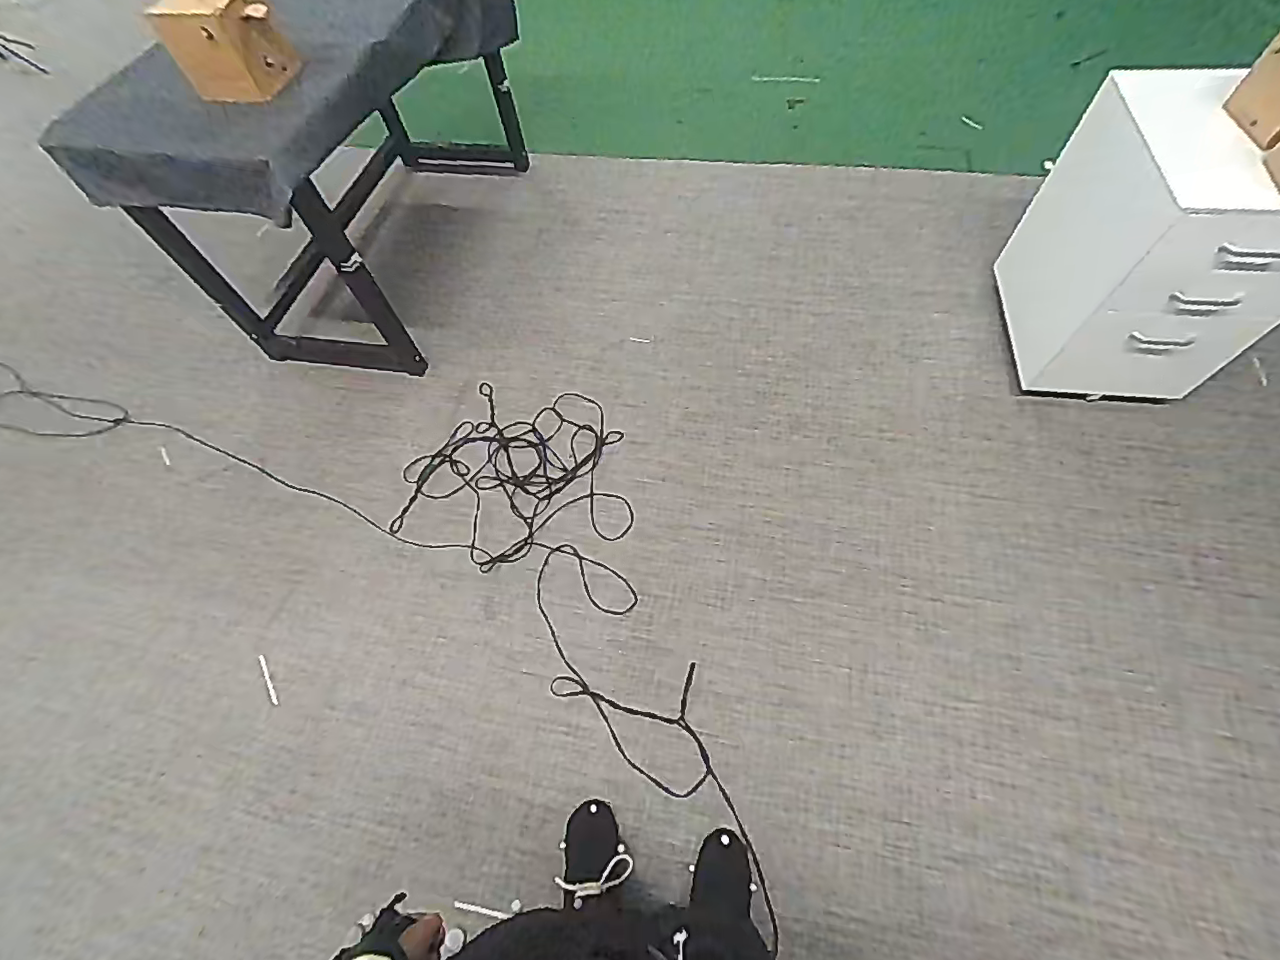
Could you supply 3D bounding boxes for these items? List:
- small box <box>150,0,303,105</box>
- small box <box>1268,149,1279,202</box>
[{"bbox_3d":[-0.918,-0.977,1.218,0.179,0.176,0.168,8,61,9],"label":"small box"},{"bbox_3d":[1.291,-0.581,0.956,0.179,0.176,0.168,9,62,9],"label":"small box"}]
